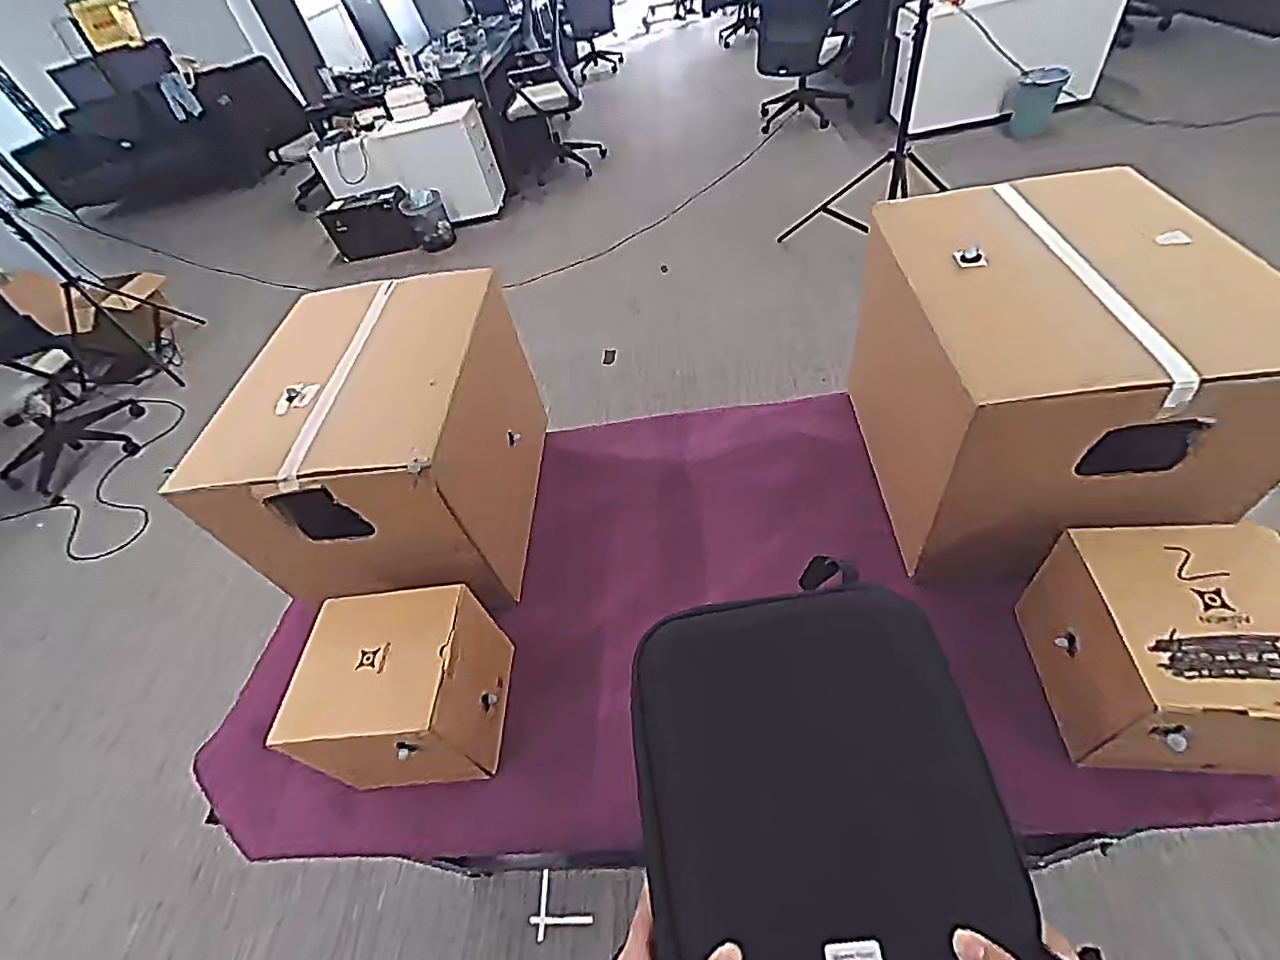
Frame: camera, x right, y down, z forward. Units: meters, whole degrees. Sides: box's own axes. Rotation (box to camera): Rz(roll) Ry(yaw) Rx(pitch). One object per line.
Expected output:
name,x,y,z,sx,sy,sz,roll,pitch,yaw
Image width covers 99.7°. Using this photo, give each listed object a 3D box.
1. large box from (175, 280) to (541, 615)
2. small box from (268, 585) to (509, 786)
large box,-0.348,-0.043,0.817,0.320,0.320,0.408,-7,50,6
small box,-0.275,0.247,0.639,0.179,0.176,0.168,-8,47,5
